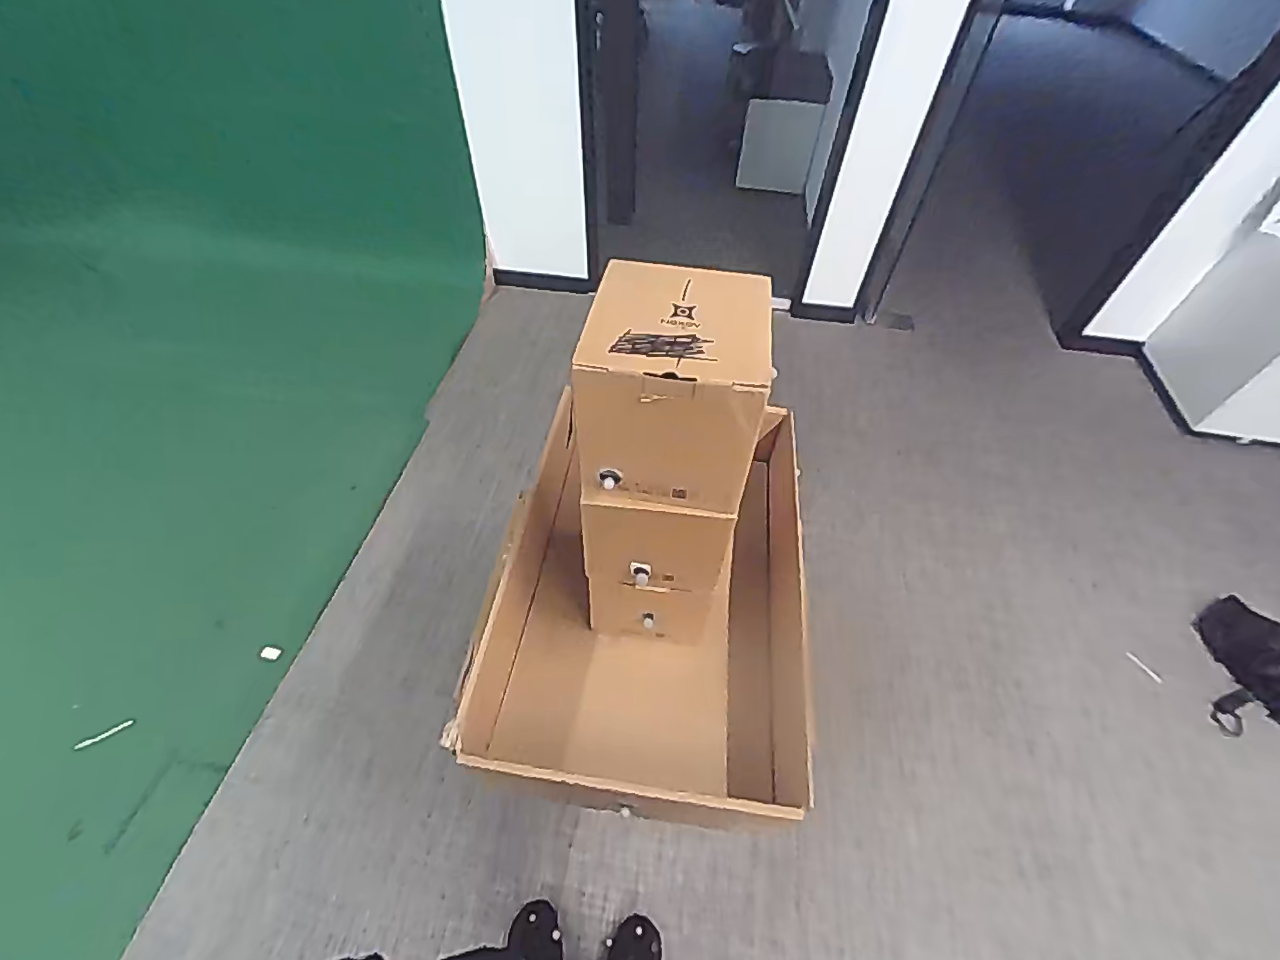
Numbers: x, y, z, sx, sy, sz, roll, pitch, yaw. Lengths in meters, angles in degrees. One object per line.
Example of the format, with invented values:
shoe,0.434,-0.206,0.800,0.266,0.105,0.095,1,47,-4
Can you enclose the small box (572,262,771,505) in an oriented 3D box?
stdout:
small box,0.034,-0.096,0.555,0.168,0.176,0.179,8,50,4

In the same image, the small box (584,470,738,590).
small box,0.025,0.015,0.677,0.168,0.176,0.179,5,52,2
